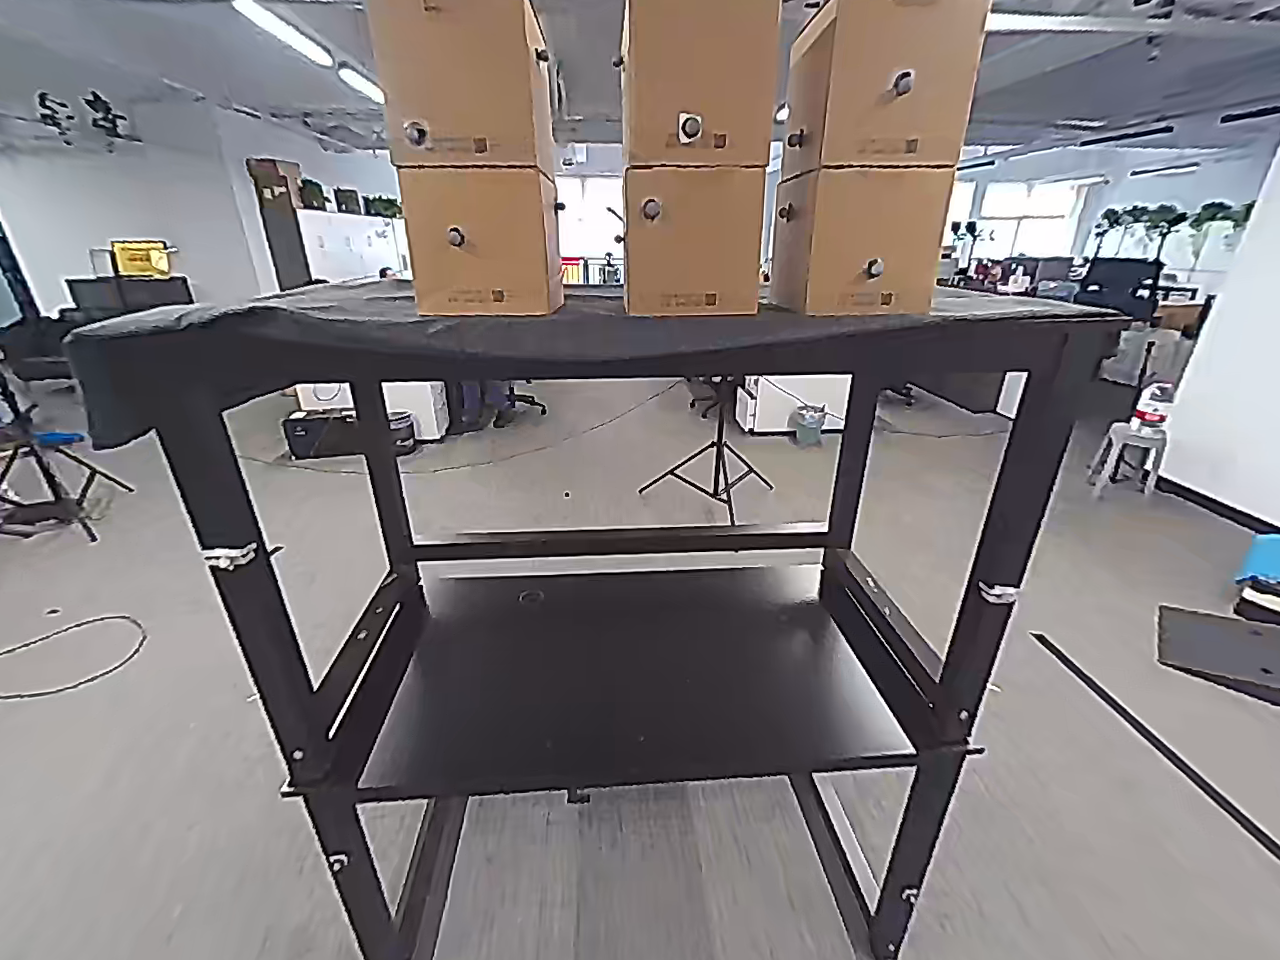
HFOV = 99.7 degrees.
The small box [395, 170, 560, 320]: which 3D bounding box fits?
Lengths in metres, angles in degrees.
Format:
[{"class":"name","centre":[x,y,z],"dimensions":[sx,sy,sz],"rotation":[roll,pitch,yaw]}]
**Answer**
[{"class":"small box","centre":[-0.200,-0.309,0.725],"dimensions":[0.168,0.176,0.179],"rotation":[-1,23,-1]}]

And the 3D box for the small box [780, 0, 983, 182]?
[{"class":"small box","centre":[0.281,-0.469,0.672],"dimensions":[0.168,0.176,0.179],"rotation":[-1,24,-2]}]

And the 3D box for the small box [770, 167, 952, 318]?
[{"class":"small box","centre":[0.281,-0.317,0.735],"dimensions":[0.168,0.176,0.179],"rotation":[-2,23,-2]}]

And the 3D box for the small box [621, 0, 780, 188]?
[{"class":"small box","centre":[0.062,-0.464,0.671],"dimensions":[0.168,0.176,0.179],"rotation":[-3,23,-4]}]

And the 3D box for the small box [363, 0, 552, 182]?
[{"class":"small box","centre":[-0.203,-0.459,0.659],"dimensions":[0.168,0.176,0.179],"rotation":[-1,21,-1]}]
